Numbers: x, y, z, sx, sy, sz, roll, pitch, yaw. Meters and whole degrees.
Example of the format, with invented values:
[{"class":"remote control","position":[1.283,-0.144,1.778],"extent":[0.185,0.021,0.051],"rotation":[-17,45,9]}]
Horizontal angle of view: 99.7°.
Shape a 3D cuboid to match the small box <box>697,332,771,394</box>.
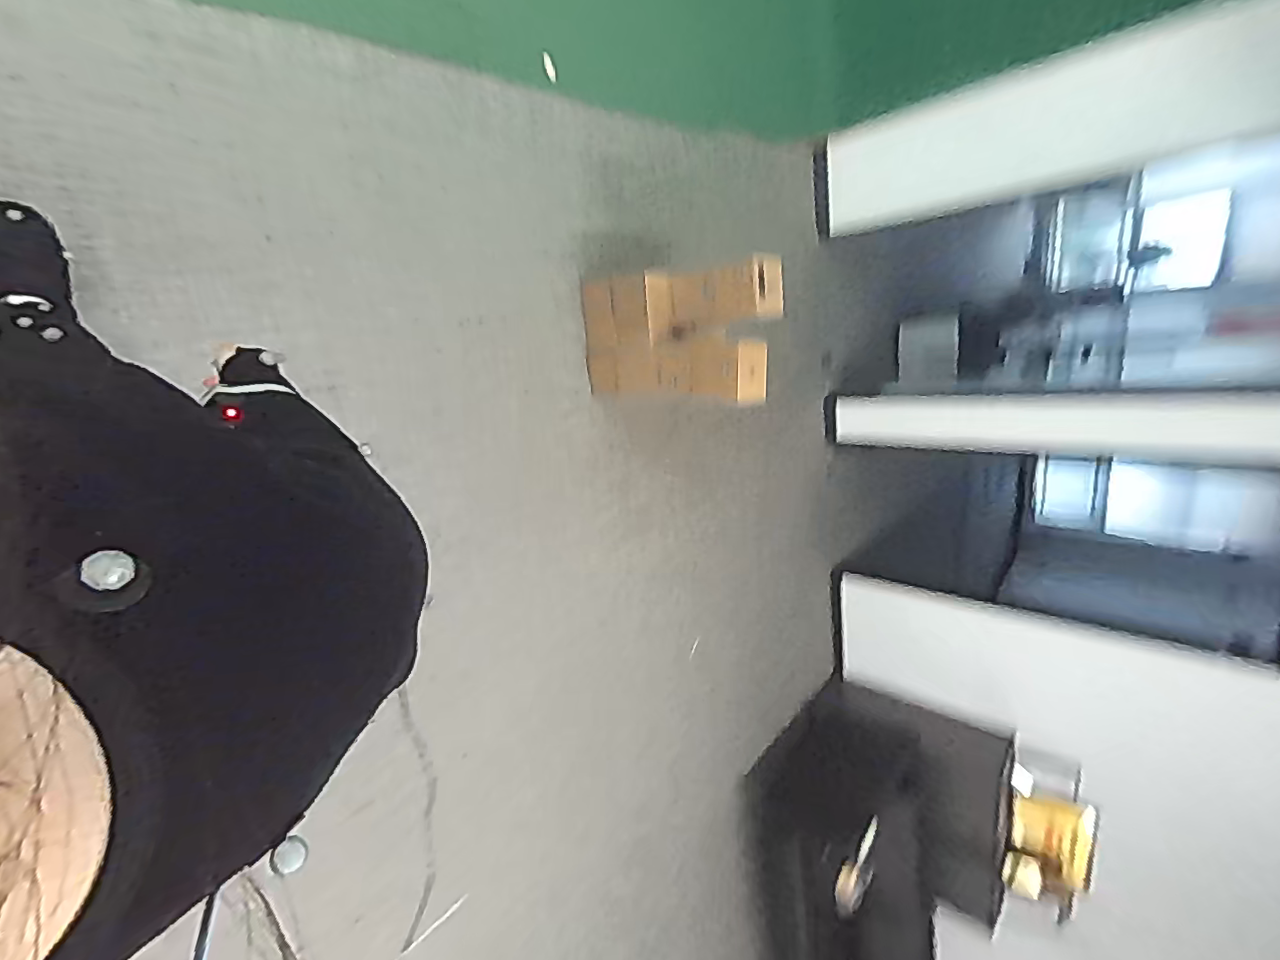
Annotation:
[{"class":"small box","position":[0.287,-0.360,1.665],"extent":[0.168,0.176,0.179],"rotation":[-15,108,-45]}]
